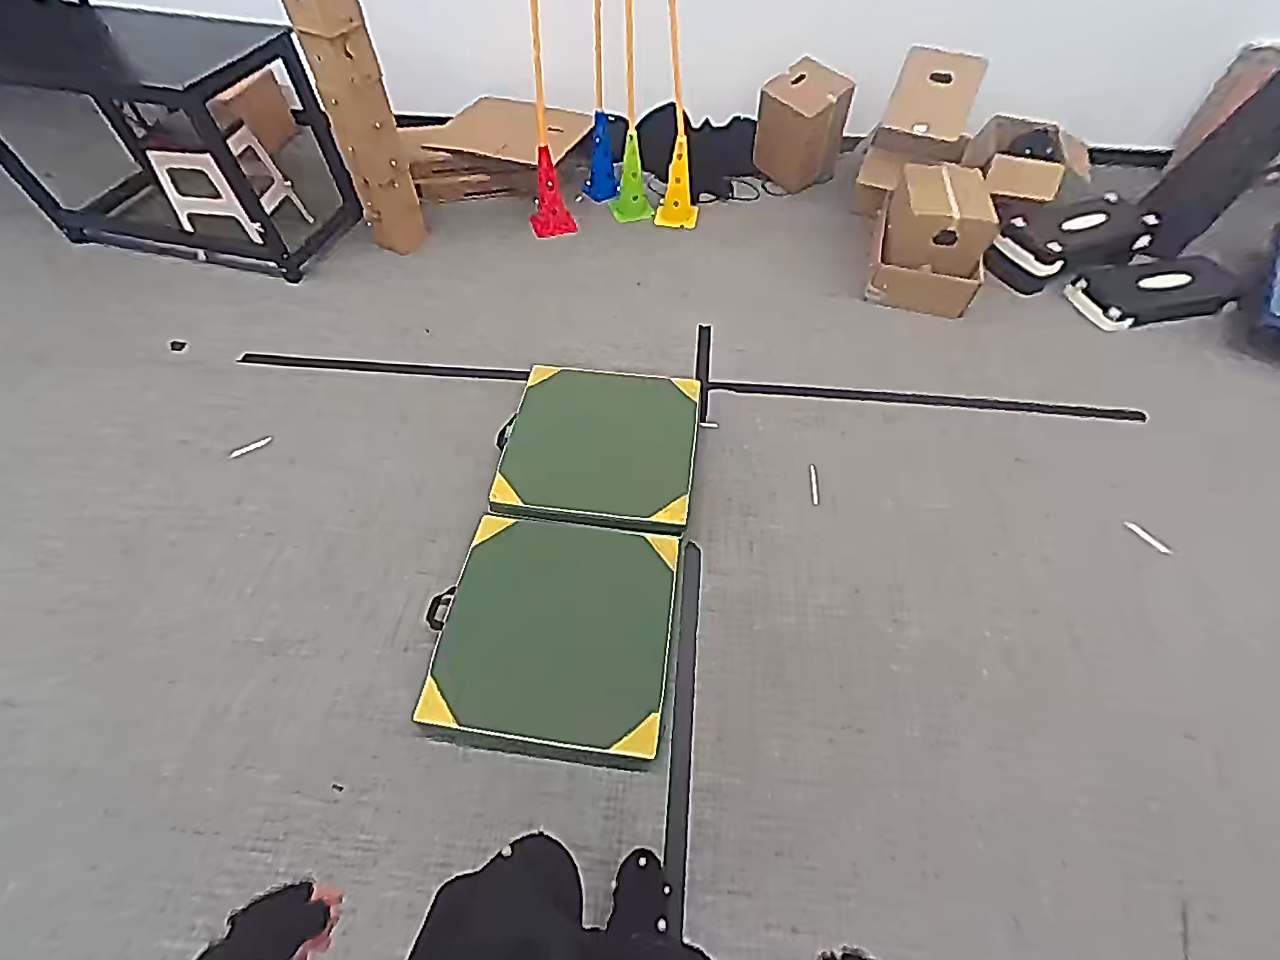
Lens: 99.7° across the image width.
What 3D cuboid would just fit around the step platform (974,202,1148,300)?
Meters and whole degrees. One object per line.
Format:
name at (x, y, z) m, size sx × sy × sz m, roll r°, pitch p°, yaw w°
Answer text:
step platform at (1.879, -1.030, 2.415) m, size 0.684 × 0.204 × 0.286 m, roll -19°, pitch 58°, yaw -13°
